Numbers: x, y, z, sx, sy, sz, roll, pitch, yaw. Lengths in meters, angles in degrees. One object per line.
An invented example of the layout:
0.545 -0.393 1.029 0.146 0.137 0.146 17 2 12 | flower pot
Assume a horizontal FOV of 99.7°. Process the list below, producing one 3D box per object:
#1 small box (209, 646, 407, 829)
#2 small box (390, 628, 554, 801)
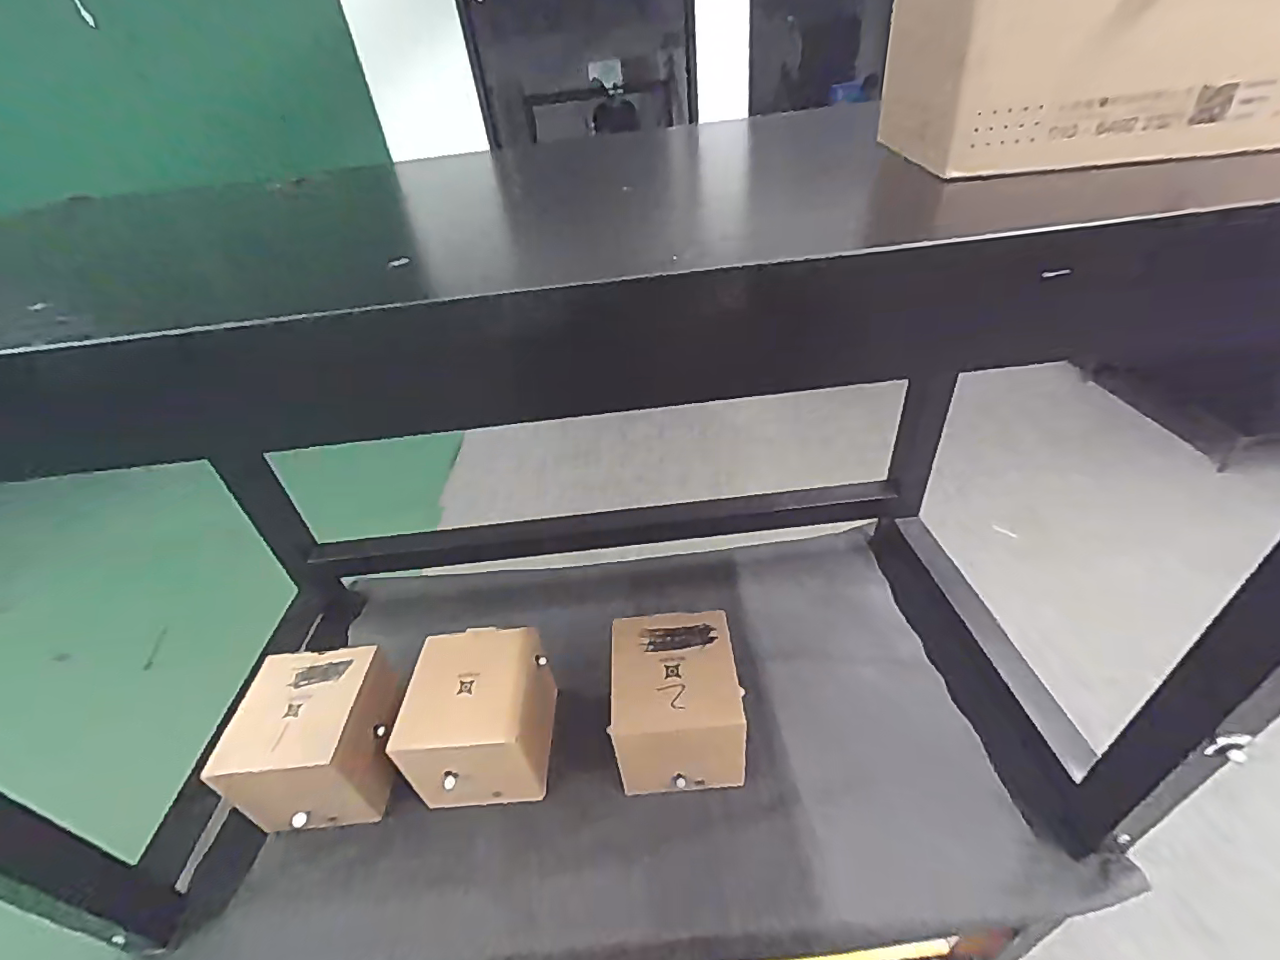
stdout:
-0.451 0.369 0.780 0.168 0.176 0.179 -6 36 1 | small box
-0.225 0.342 0.783 0.168 0.176 0.179 -5 36 2 | small box
